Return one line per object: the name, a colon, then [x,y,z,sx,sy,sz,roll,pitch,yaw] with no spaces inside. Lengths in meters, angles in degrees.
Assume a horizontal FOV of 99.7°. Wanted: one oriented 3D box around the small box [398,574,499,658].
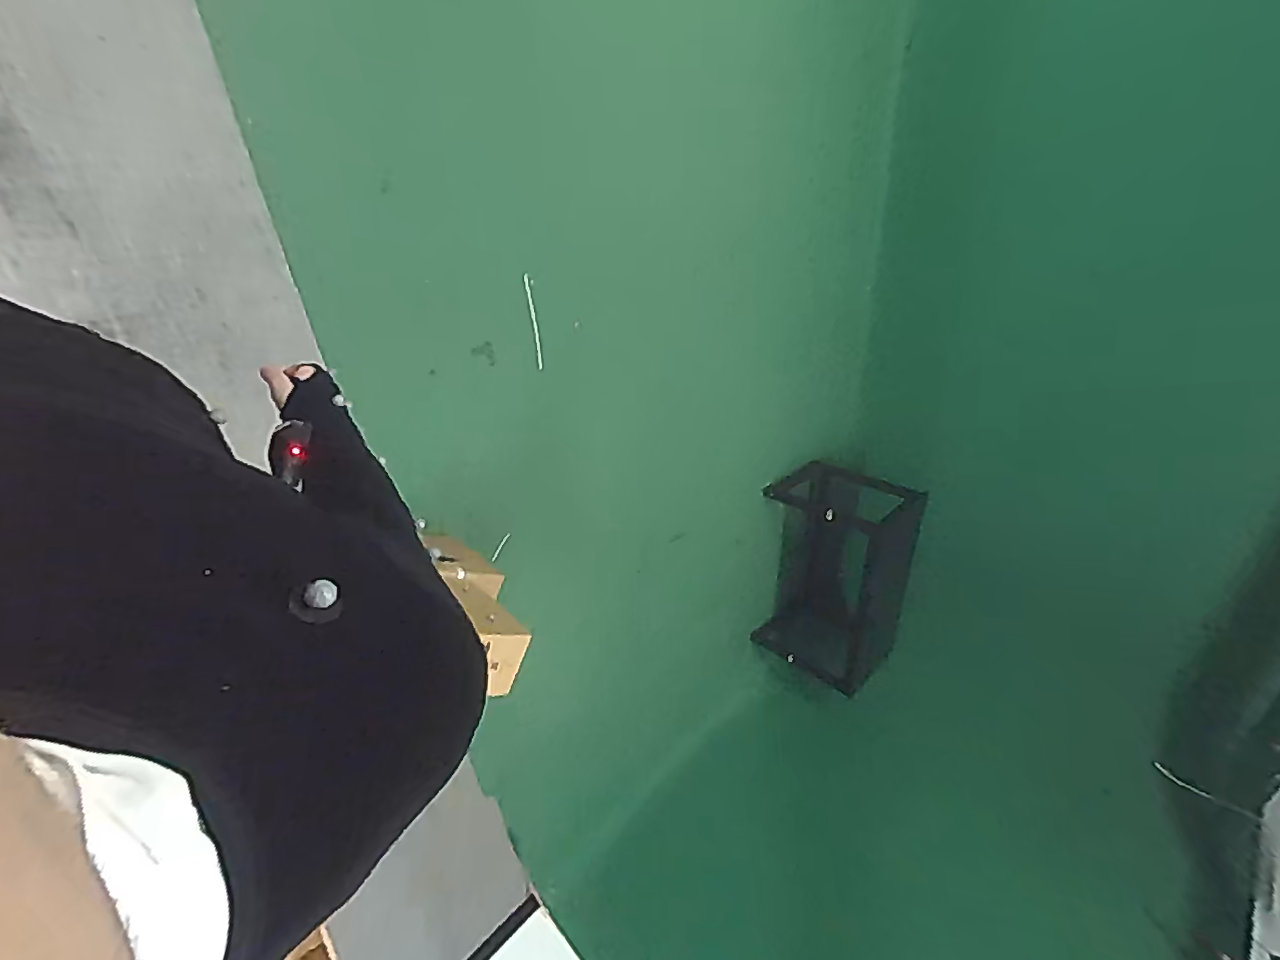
small box: [-0.525,0.369,1.473,0.179,0.176,0.168,22,92,-49]
